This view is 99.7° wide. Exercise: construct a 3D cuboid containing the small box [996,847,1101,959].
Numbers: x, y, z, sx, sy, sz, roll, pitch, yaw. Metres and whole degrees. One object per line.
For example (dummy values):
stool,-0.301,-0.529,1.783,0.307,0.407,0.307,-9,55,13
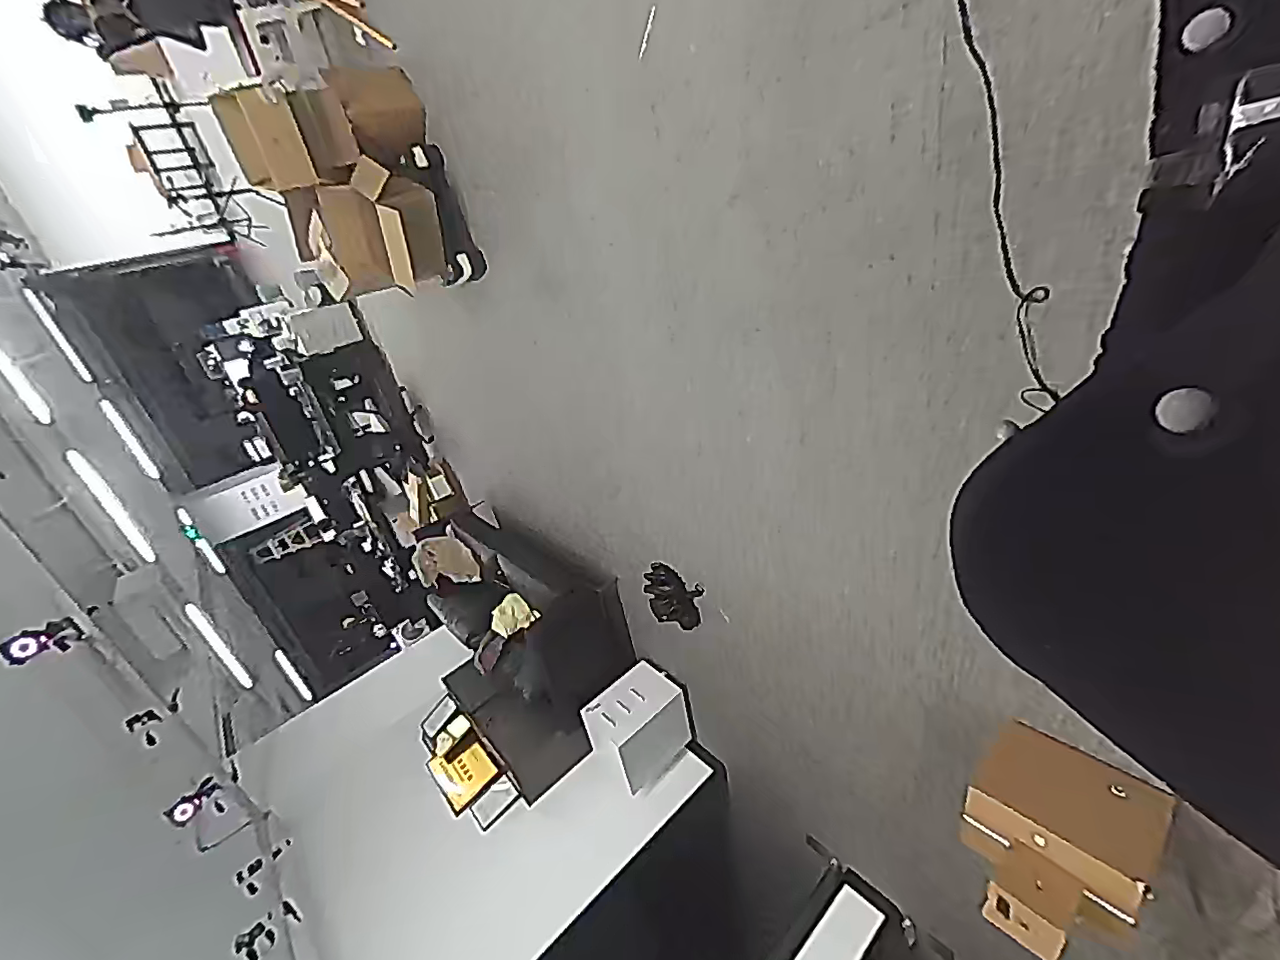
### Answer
small box,1.109,1.150,1.471,0.179,0.176,0.168,19,125,49
